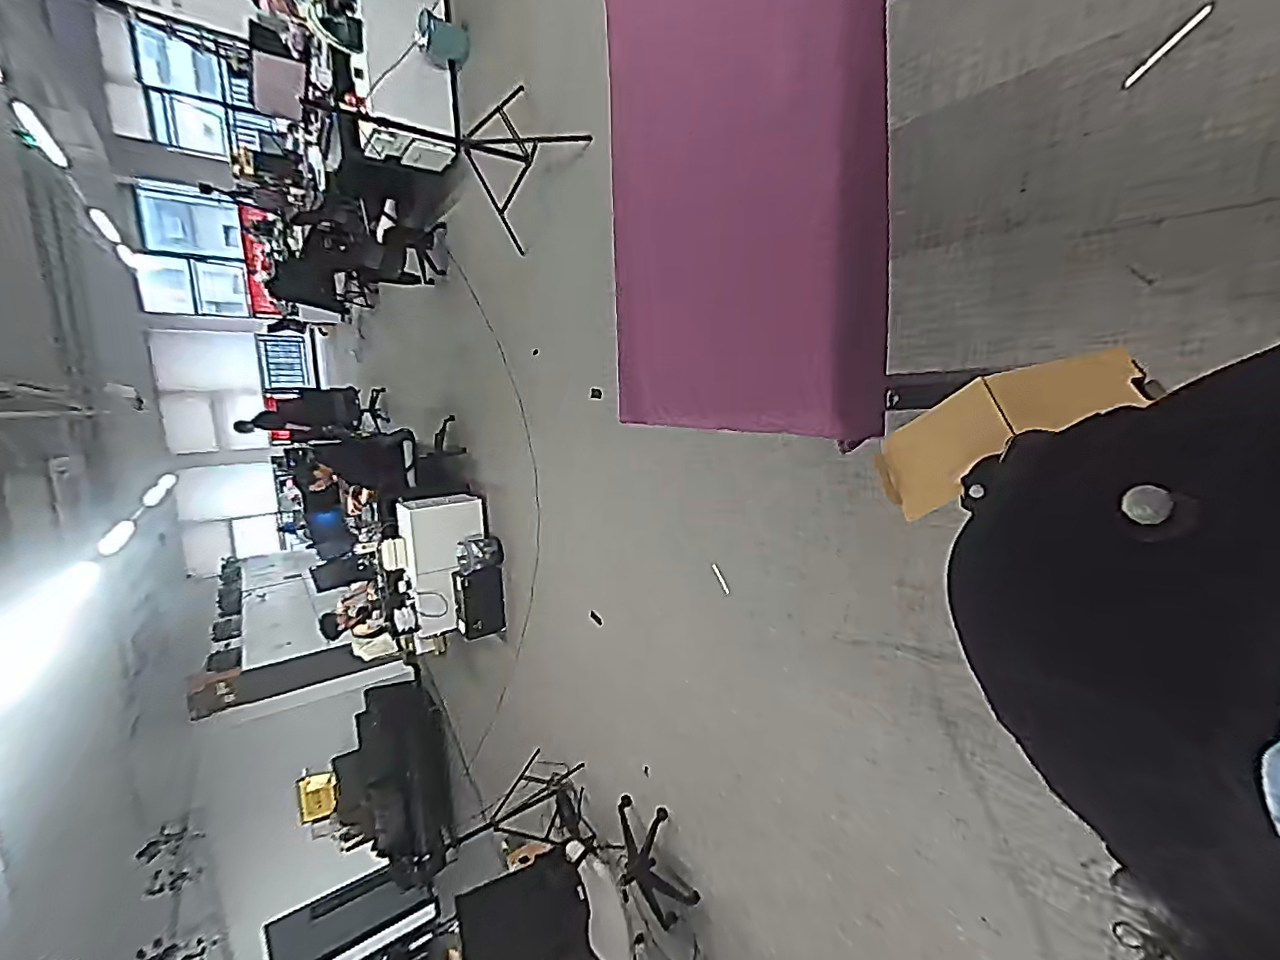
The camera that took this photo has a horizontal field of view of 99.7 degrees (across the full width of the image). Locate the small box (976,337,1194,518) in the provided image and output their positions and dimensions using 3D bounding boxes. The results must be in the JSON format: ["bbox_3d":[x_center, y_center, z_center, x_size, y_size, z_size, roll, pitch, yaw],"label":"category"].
[{"bbox_3d":[0.589,-0.064,0.752,0.179,0.176,0.168,-11,50,17],"label":"small box"}]
